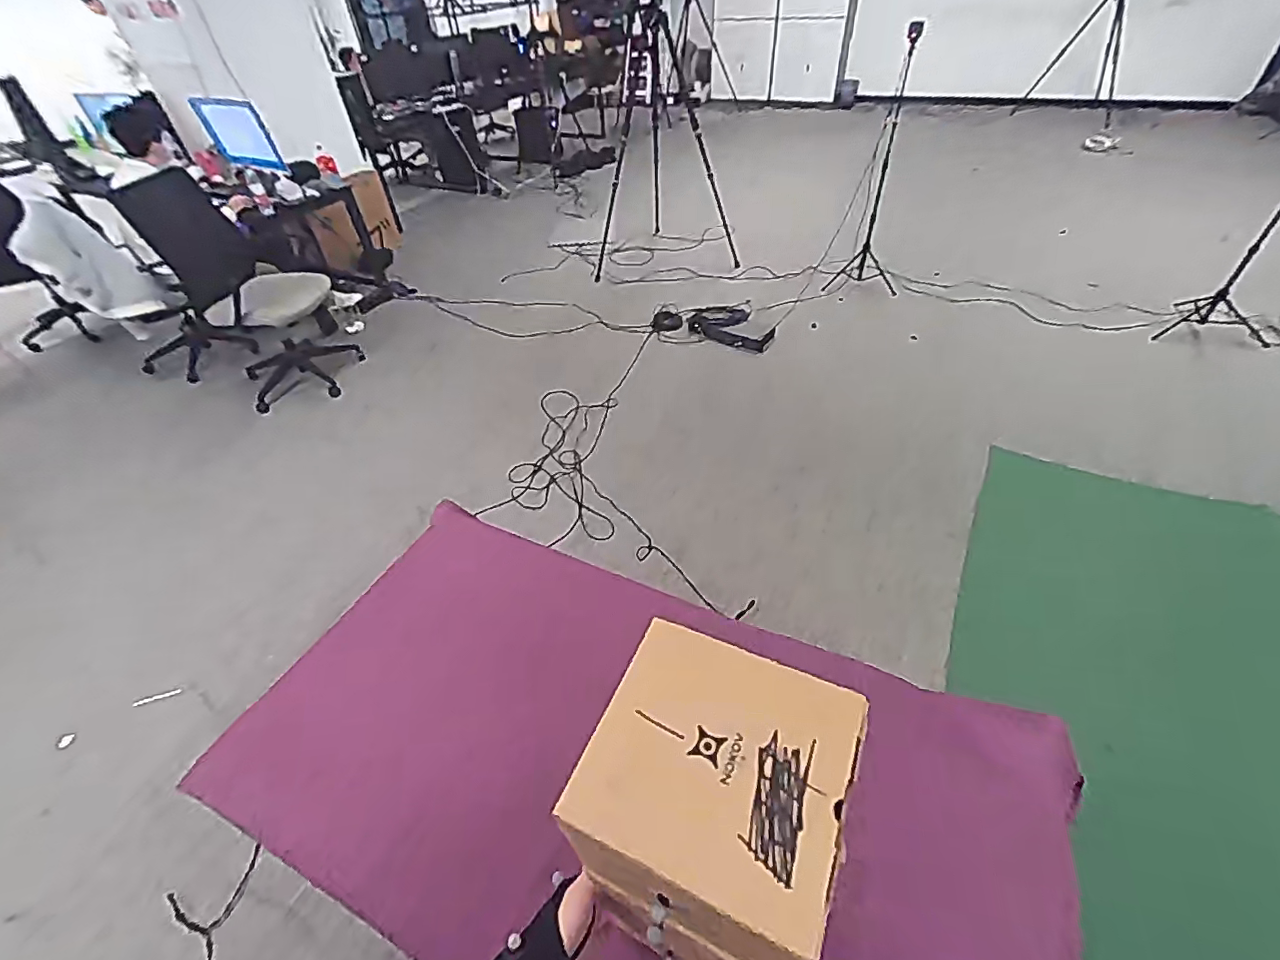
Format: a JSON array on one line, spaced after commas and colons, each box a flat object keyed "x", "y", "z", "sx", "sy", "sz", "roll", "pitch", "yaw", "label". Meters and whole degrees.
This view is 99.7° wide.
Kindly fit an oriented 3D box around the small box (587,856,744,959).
[{"x": 0.071, "y": 0.366, "z": 0.546, "sx": 0.179, "sy": 0.176, "sz": 0.168, "roll": 17, "pitch": 49, "yaw": 22, "label": "small box"}]

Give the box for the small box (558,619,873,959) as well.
[{"x": 0.063, "y": 0.248, "z": 0.432, "sx": 0.179, "sy": 0.176, "sz": 0.168, "roll": 16, "pitch": 48, "yaw": 21, "label": "small box"}]
